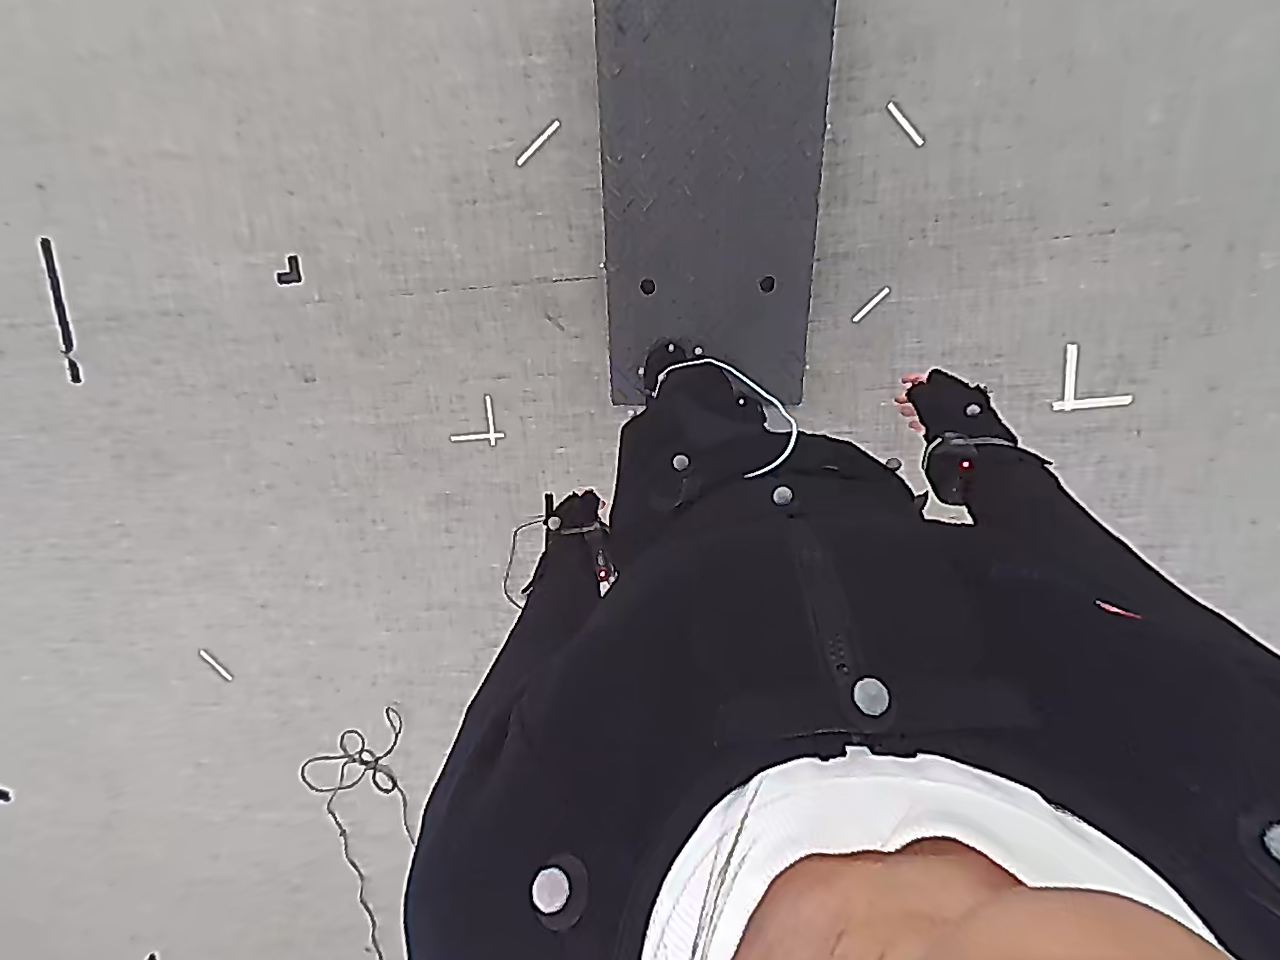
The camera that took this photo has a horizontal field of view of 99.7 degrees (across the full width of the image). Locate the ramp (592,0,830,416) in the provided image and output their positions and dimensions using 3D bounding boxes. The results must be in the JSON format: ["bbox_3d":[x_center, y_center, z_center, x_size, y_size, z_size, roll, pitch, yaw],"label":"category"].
[{"bbox_3d":[0.164,-0.642,1.247,0.509,0.206,0.991,-2,101,6],"label":"ramp"}]
